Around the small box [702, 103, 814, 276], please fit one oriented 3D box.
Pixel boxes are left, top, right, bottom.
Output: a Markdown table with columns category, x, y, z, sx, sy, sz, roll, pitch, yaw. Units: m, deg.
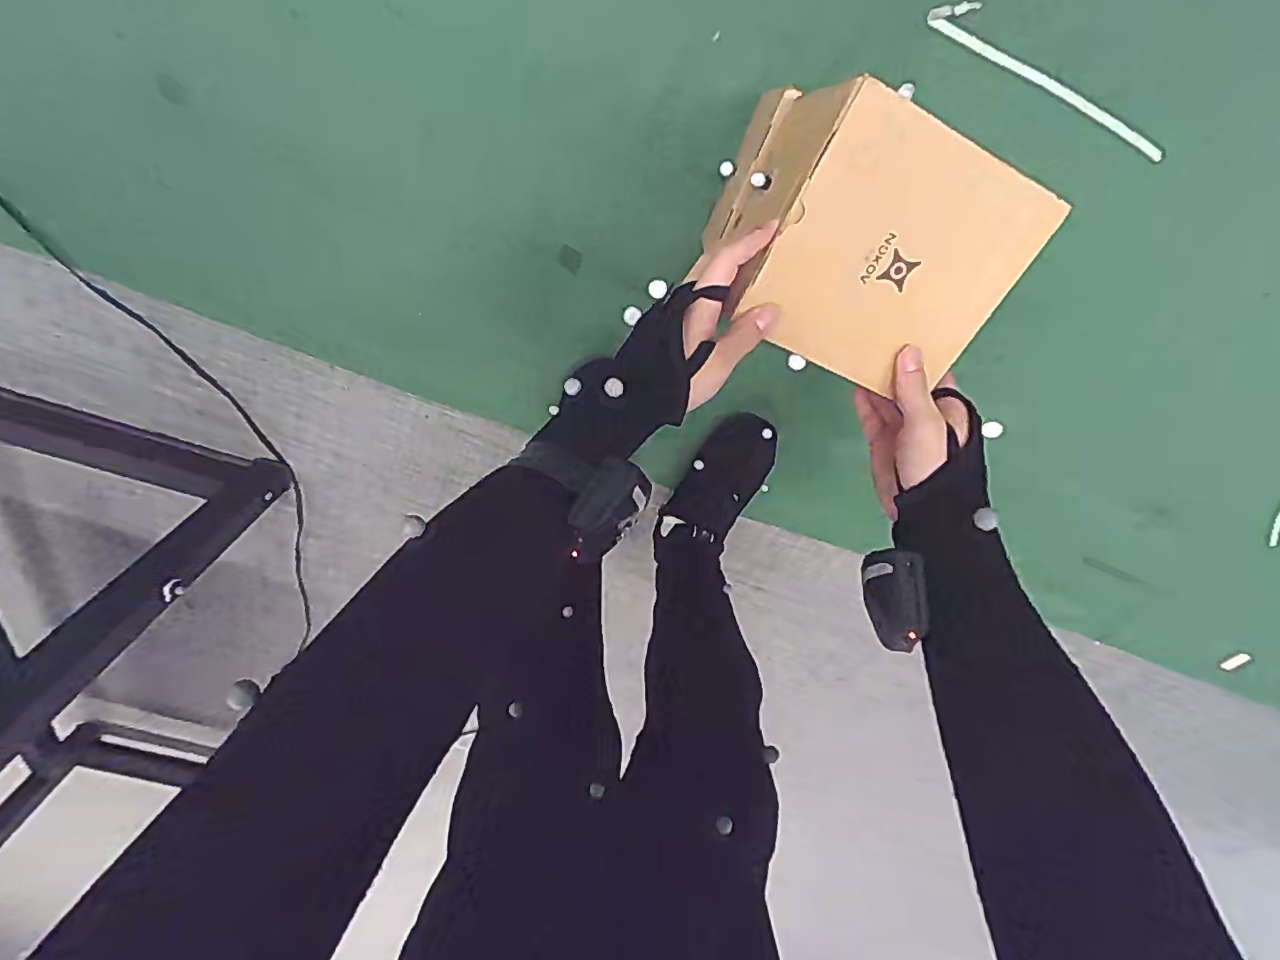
| category | x | y | z | sx | sy | sz | roll | pitch | yaw |
| --- | --- | --- | --- | --- | --- | --- | --- | --- | --- |
| small box | 0.180 | -0.290 | 0.598 | 0.179 | 0.176 | 0.168 | 20 | 122 | -9 |

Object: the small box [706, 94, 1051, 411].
| category | x | y | z | sx | sy | sz | roll | pitch | yaw |
| --- | --- | --- | --- | --- | --- | --- | --- | --- | --- |
| small box | 0.174 | -0.189 | 0.459 | 0.179 | 0.176 | 0.168 | 21 | 117 | -12 |
